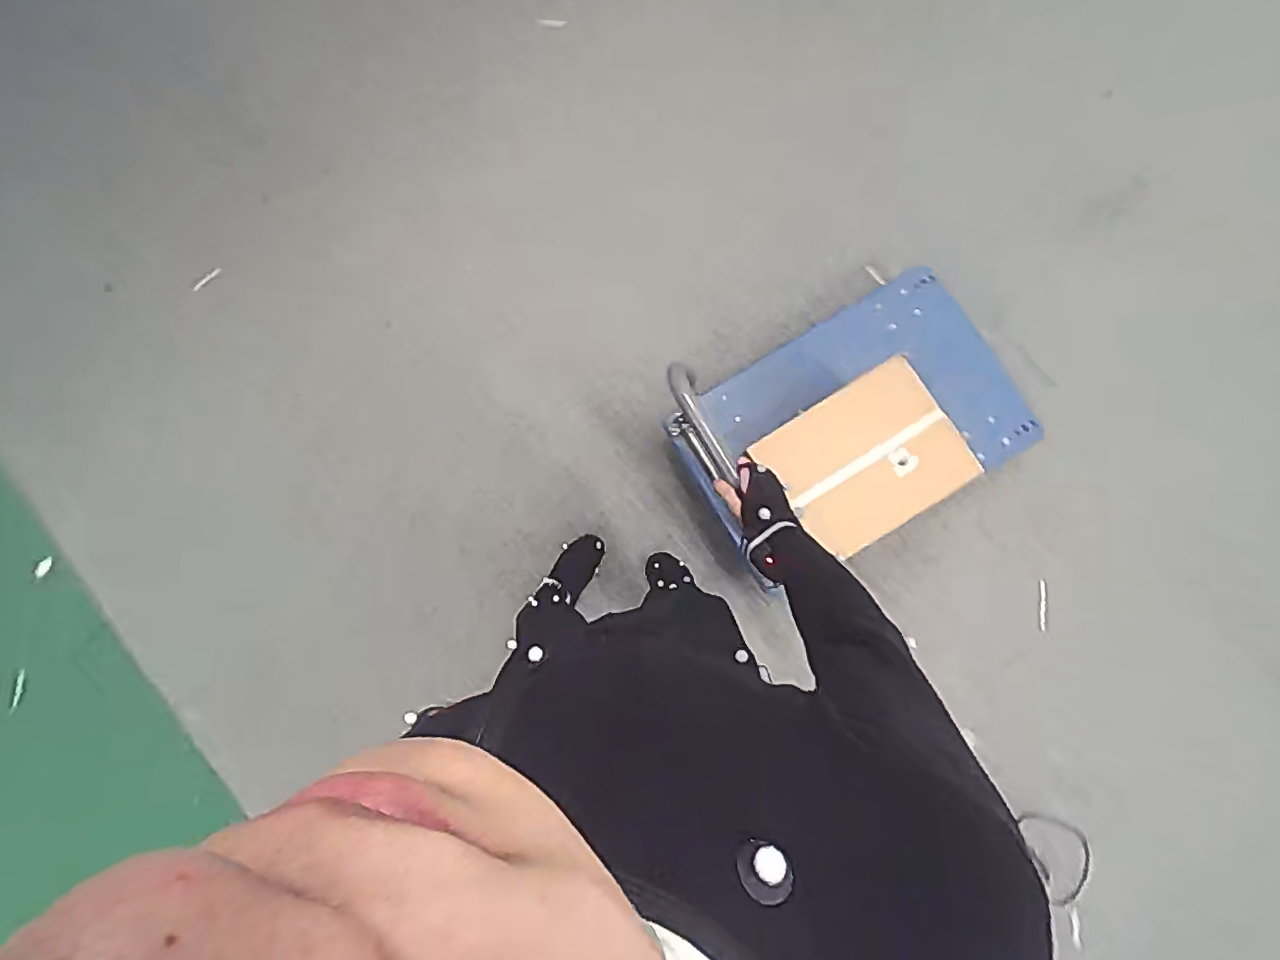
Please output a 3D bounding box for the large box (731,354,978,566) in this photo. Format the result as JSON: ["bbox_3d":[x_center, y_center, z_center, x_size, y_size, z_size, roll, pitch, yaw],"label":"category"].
[{"bbox_3d":[0.484,-0.031,1.312,0.408,0.320,0.320,-31,85,-2],"label":"large box"}]
